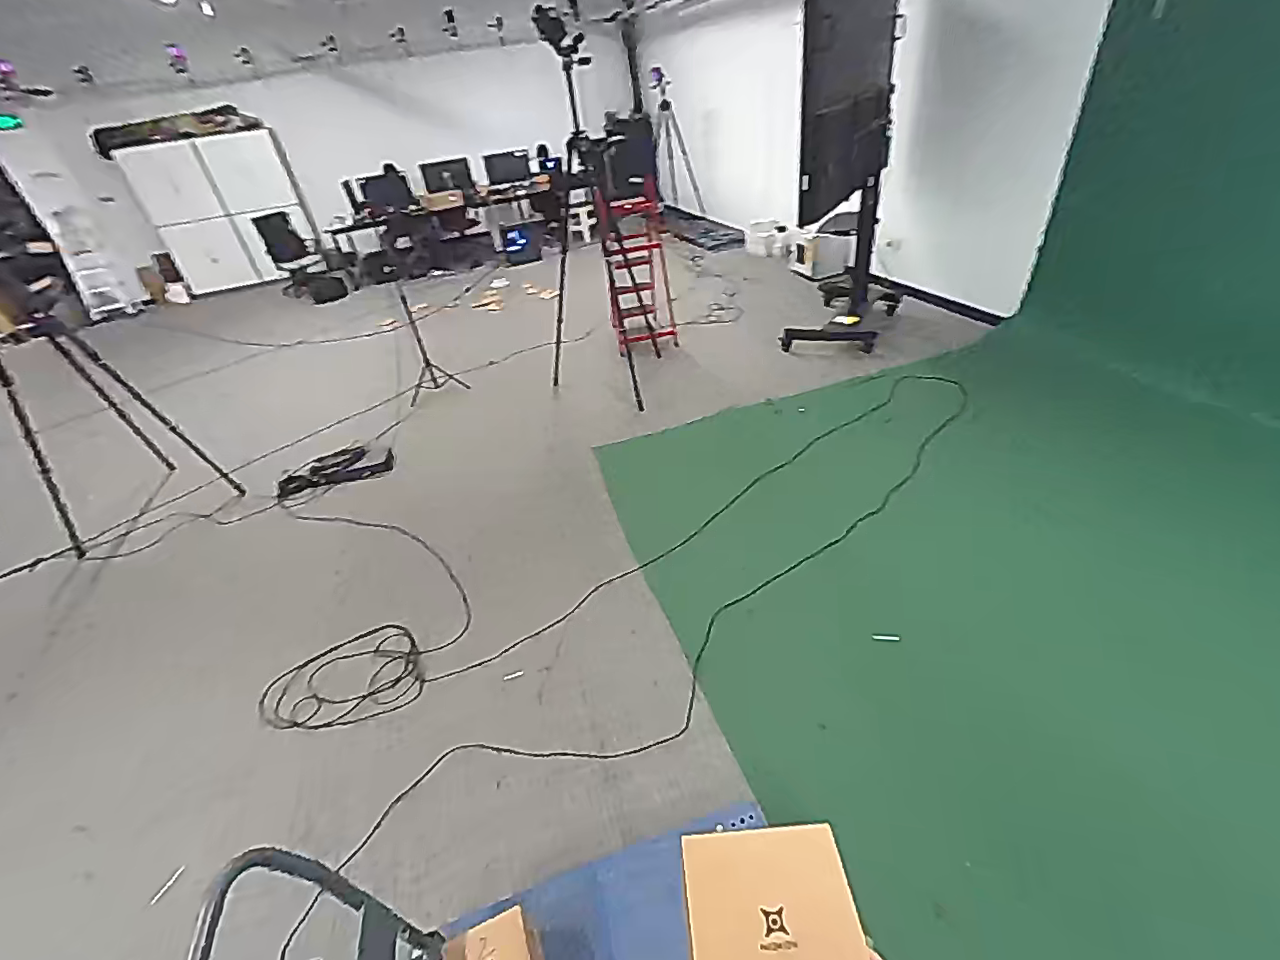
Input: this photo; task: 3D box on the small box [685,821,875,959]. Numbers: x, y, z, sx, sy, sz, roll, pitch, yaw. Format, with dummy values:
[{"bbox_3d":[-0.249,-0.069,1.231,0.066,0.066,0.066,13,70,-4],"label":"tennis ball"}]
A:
[{"bbox_3d":[0.137,0.491,0.565,0.168,0.176,0.179,-4,36,0],"label":"small box"}]
